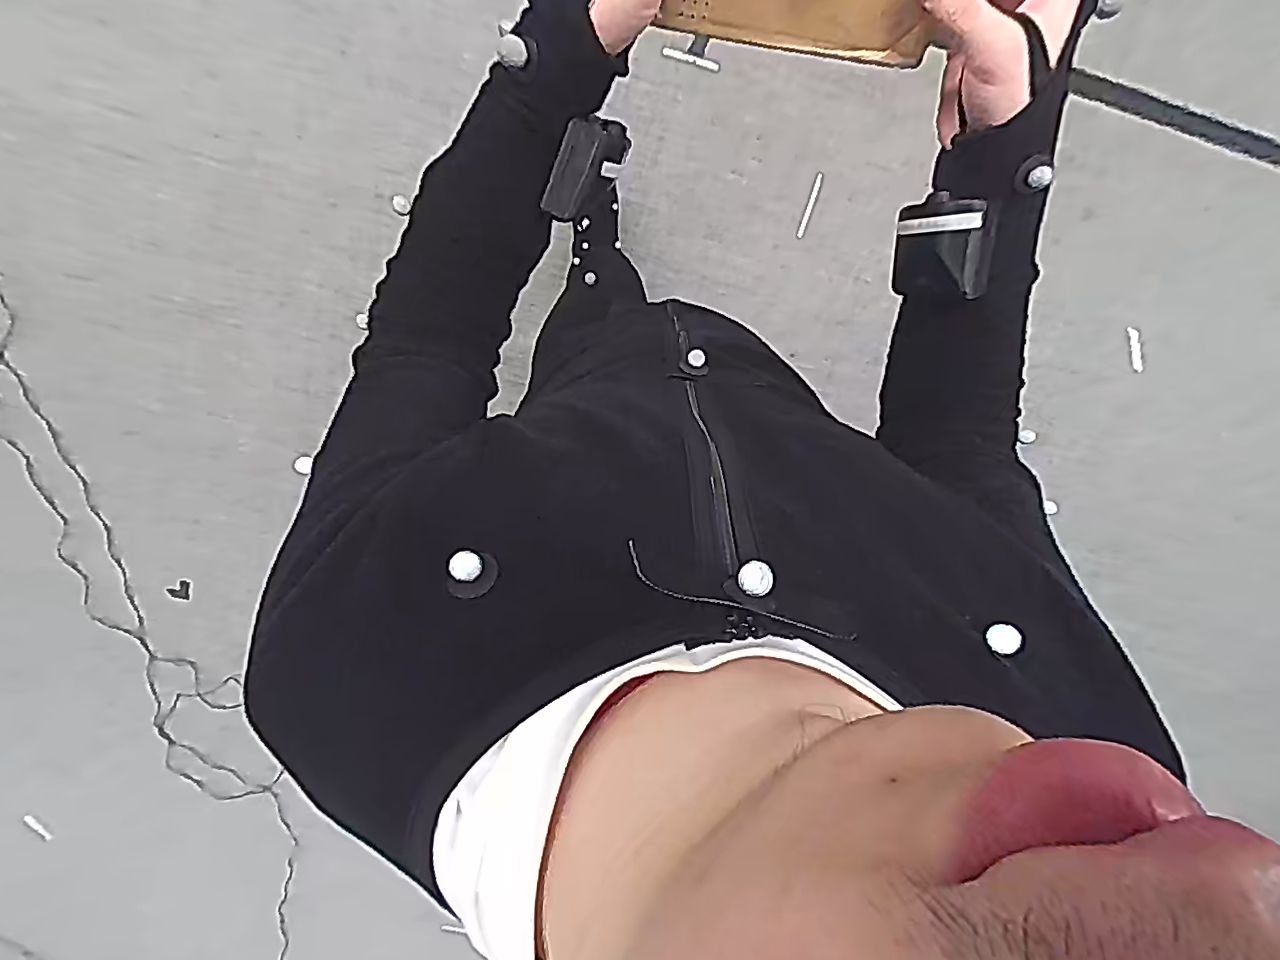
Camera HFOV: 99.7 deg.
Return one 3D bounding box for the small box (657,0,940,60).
[{"bbox_3d":[0.097,-0.373,0.290,0.176,0.179,0.168,5,152,-8],"label":"small box"}]
